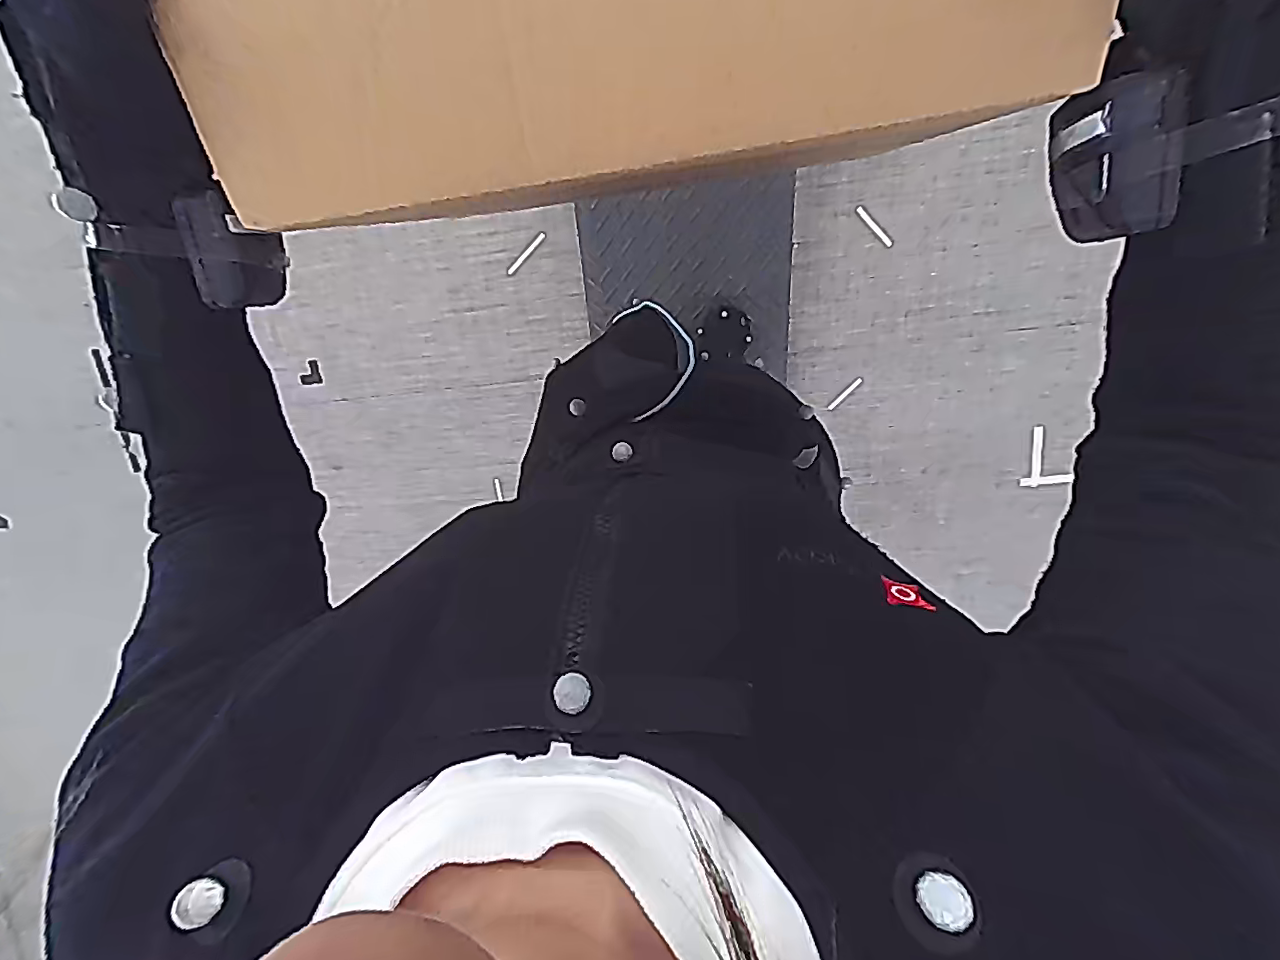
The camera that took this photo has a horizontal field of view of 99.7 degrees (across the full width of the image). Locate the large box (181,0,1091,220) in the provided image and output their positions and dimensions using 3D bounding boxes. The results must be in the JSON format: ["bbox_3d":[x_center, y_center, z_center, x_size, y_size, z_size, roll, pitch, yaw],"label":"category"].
[{"bbox_3d":[-0.014,-0.363,0.329,0.408,0.320,0.320,-4,117,10],"label":"large box"}]
